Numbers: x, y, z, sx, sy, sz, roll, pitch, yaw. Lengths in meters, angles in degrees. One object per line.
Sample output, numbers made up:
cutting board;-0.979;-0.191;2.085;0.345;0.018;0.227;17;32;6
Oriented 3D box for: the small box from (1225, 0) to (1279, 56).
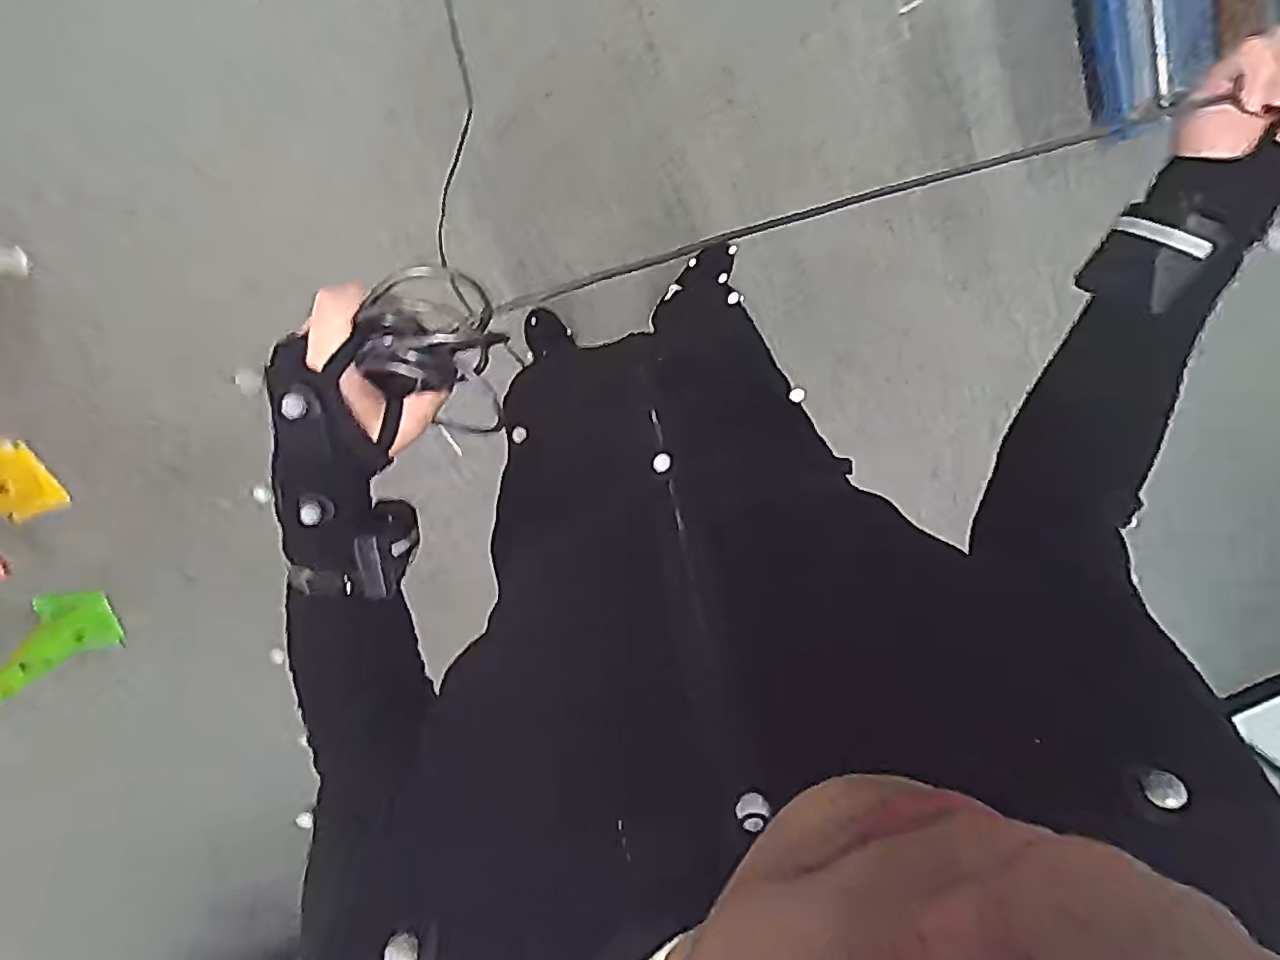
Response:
small box;1.363;-1.012;1.095;0.179;0.176;0.168;-27;115;8
